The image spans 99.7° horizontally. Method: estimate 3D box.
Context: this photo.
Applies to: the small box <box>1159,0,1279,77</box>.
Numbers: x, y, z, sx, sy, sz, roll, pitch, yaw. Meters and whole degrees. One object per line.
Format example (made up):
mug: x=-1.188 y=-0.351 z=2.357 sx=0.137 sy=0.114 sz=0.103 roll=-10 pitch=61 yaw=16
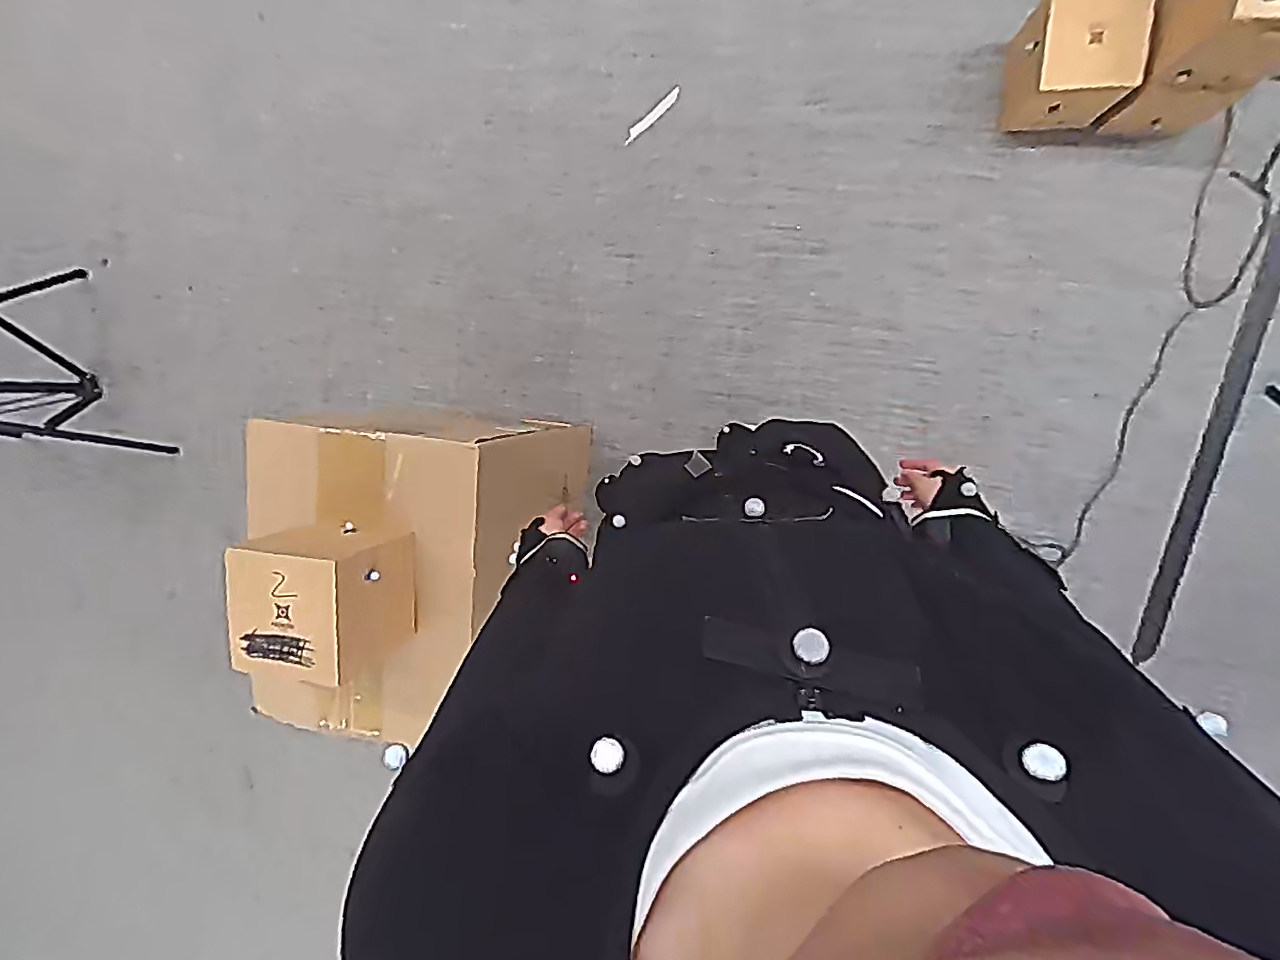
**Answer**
small box: x=0.967 y=-0.762 z=0.835 sx=0.168 sy=0.176 sz=0.179 roll=9 pitch=99 yaw=9
